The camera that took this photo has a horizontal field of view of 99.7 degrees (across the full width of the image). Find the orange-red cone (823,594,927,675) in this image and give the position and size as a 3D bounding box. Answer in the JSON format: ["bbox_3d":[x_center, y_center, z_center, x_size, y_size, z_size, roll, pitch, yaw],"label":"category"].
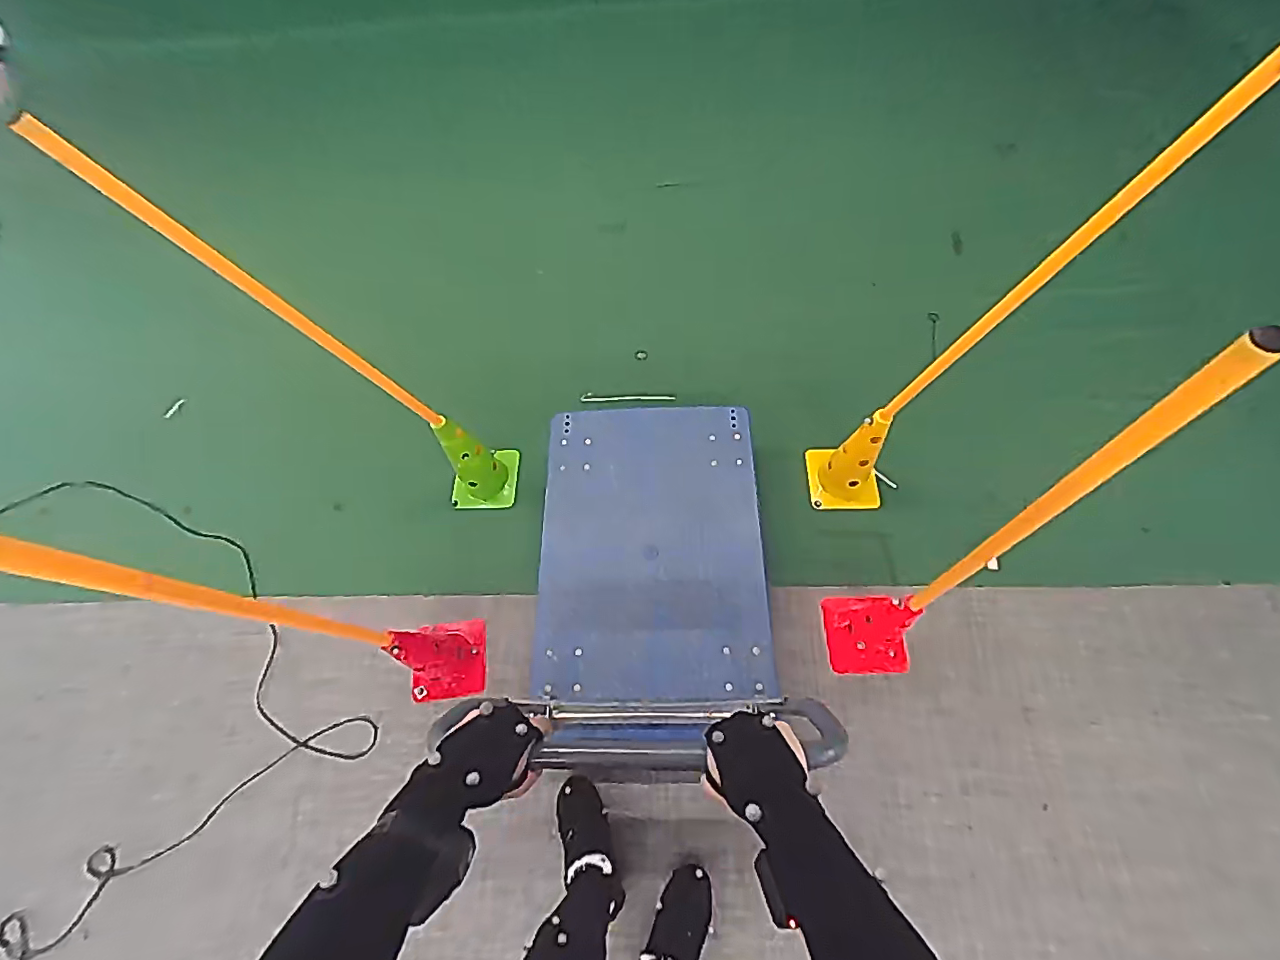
[{"bbox_3d":[0.577,0.328,1.262,0.198,0.360,0.199,-1,63,3],"label":"orange-red cone"}]

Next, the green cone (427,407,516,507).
[{"bbox_3d":[-0.506,-0.086,1.531,0.200,0.368,0.202,-2,64,4],"label":"green cone"}]
